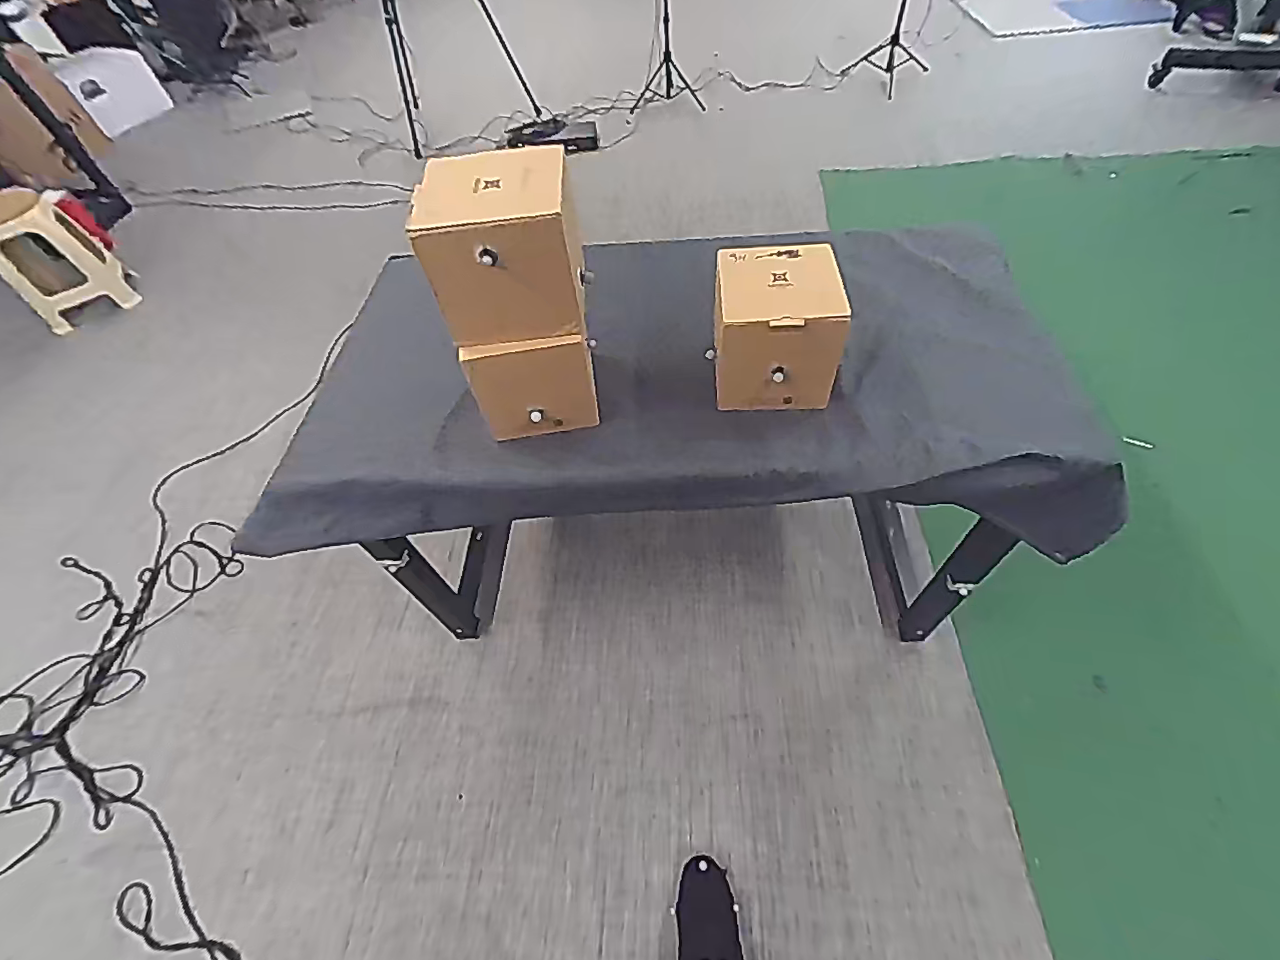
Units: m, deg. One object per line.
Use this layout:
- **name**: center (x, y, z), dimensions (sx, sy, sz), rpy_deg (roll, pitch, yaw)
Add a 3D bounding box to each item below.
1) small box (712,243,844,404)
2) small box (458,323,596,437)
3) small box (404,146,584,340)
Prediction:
- **small box**: center (0.194, -0.228, 0.815), dimensions (0.168, 0.176, 0.179), rpy_deg (-1, 54, 5)
- **small box**: center (-0.163, -0.190, 0.820), dimensions (0.168, 0.176, 0.179), rpy_deg (-9, 54, -1)
- **small box**: center (-0.172, -0.298, 0.697), dimensions (0.179, 0.176, 0.168), rpy_deg (-6, 55, 0)
